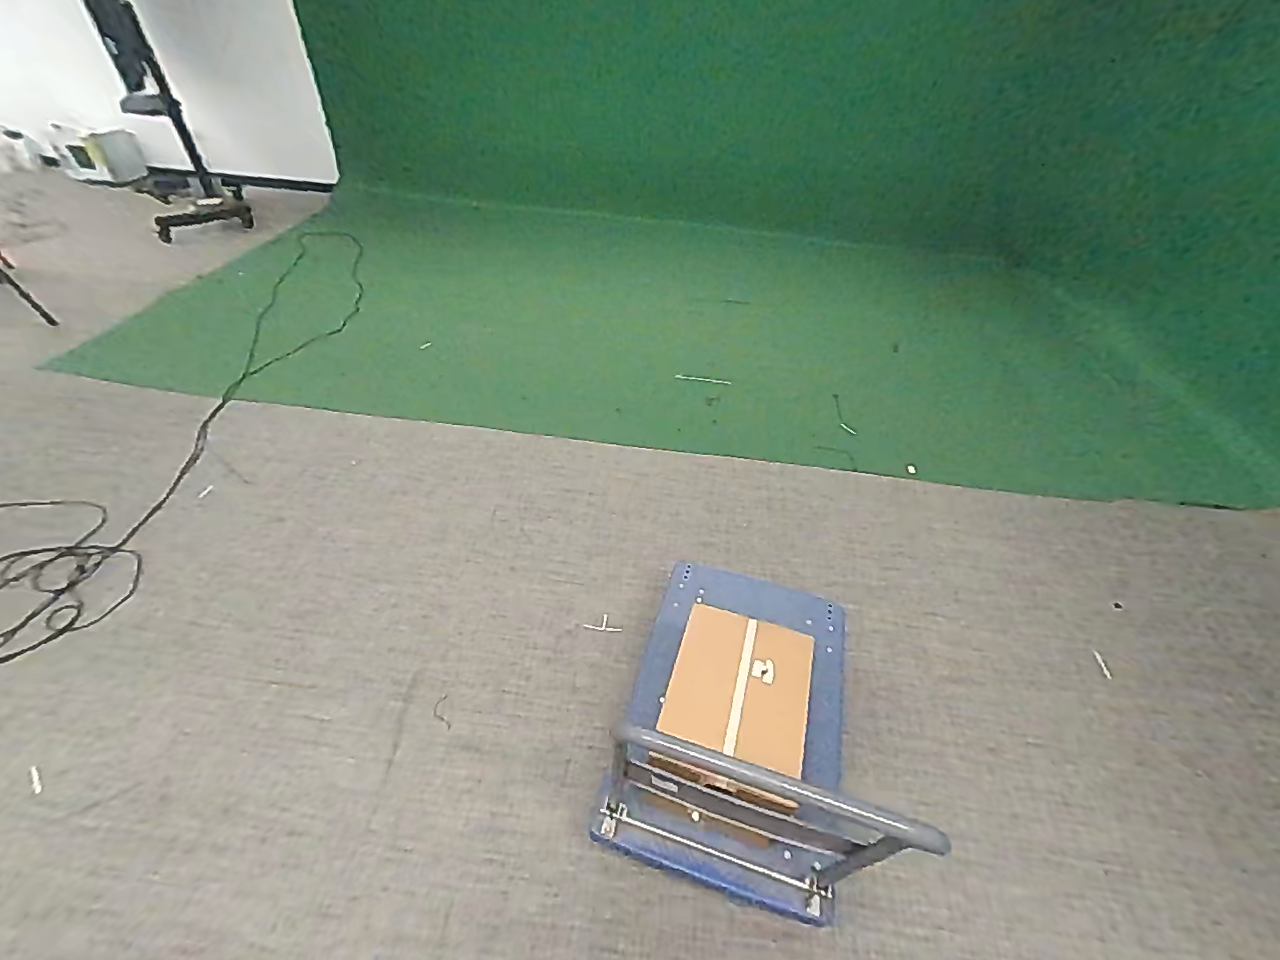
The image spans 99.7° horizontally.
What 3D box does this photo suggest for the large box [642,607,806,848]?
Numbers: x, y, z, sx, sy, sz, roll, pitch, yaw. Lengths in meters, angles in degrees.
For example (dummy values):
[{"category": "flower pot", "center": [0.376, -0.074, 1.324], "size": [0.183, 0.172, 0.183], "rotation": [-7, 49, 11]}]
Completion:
[{"category": "large box", "center": [0.208, 0.601, 1.337], "size": [0.320, 0.320, 0.408], "rotation": [15, 43, 10]}]
